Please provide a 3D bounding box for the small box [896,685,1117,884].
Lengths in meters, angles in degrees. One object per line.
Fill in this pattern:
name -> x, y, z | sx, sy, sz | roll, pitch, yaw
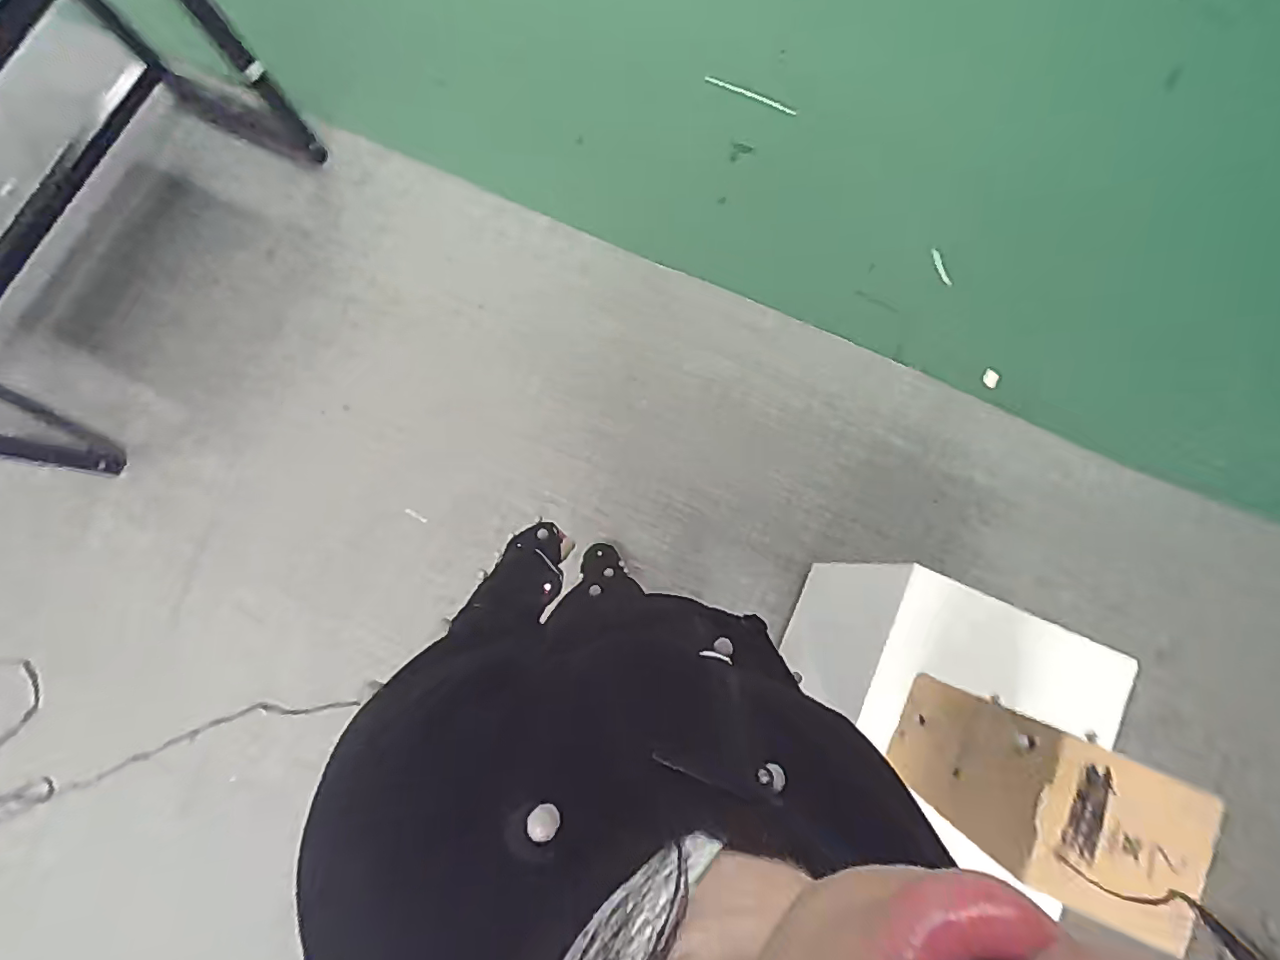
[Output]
small box -> 0.513, 0.418, 0.780 | 0.179, 0.176, 0.168 | 25, 82, 3
